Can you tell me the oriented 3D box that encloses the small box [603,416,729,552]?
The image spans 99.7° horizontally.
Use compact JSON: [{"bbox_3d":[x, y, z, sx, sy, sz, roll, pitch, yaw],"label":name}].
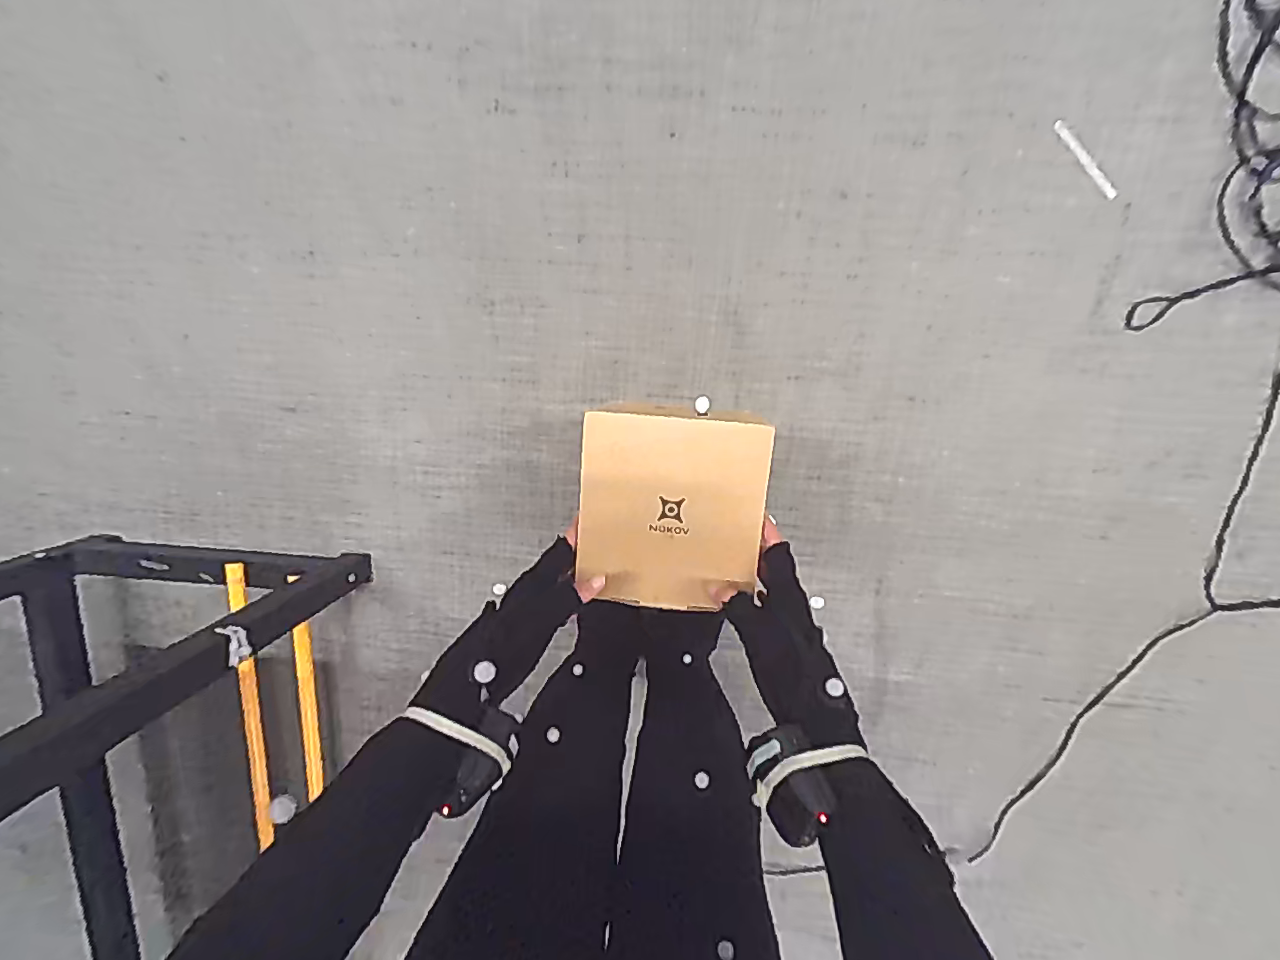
[{"bbox_3d":[0.043,-0.004,0.876,0.168,0.176,0.179,10,102,4],"label":"small box"}]
